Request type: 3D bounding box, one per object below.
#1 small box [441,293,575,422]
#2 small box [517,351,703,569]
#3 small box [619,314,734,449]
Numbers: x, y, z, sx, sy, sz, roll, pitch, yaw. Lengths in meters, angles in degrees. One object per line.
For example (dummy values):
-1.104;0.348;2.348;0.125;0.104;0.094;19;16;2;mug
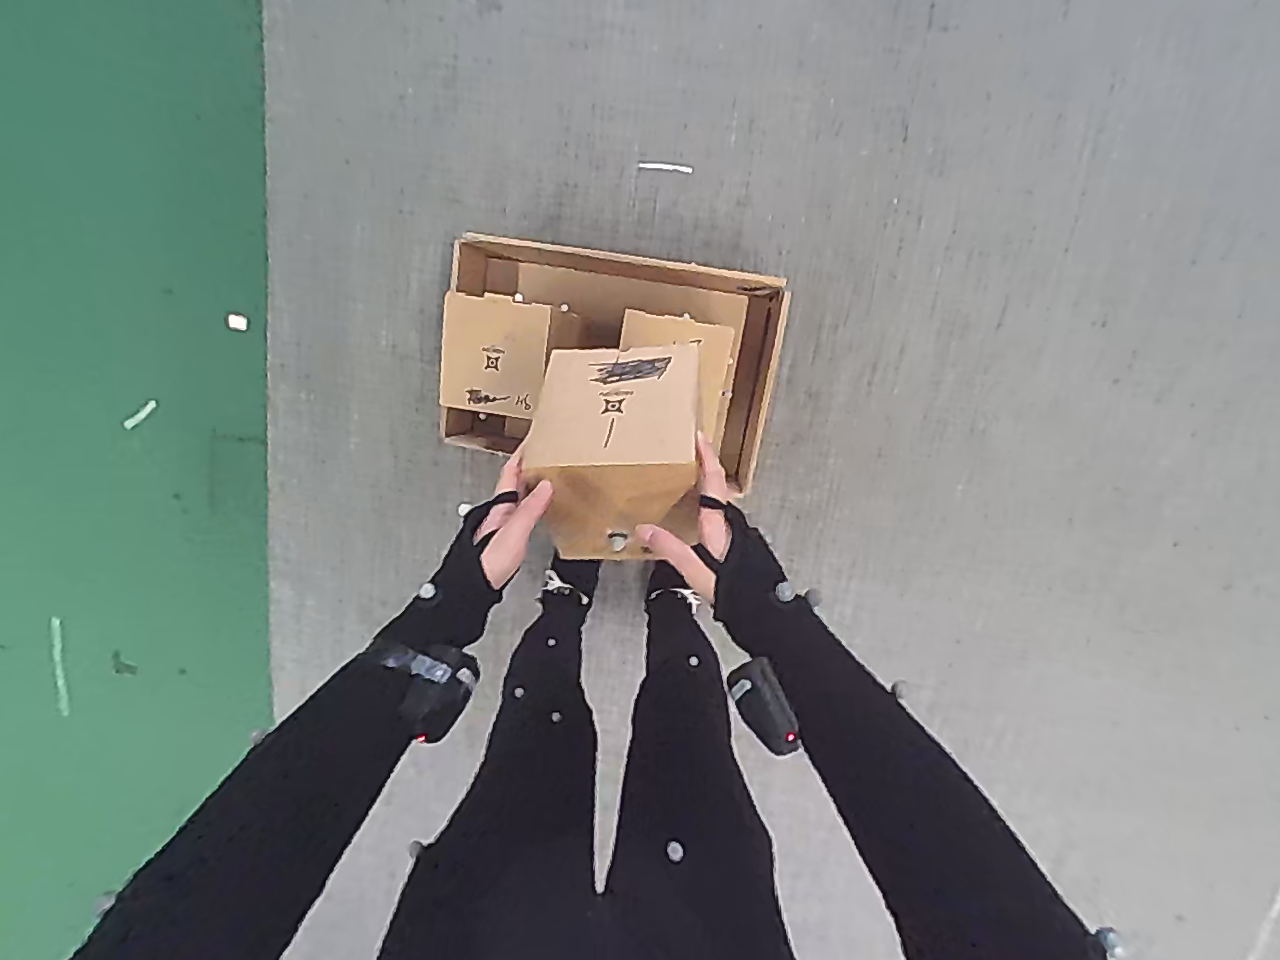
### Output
-0.213;-0.201;0.908;0.168;0.176;0.179;10;102;5;small box
-0.017;-0.021;0.601;0.168;0.179;0.176;-1;140;9;small box
0.054;-0.163;0.887;0.168;0.176;0.179;12;103;5;small box
